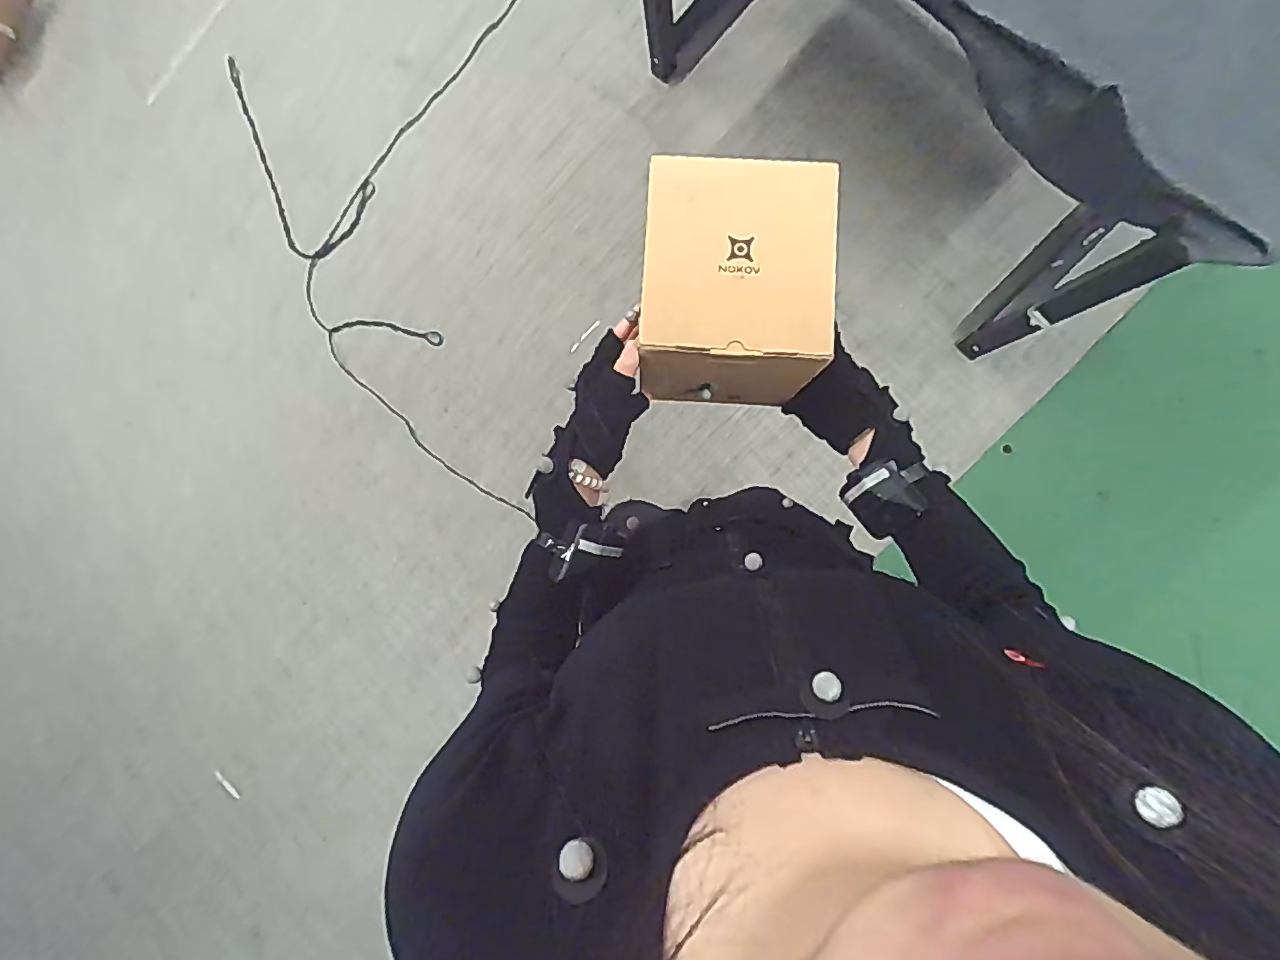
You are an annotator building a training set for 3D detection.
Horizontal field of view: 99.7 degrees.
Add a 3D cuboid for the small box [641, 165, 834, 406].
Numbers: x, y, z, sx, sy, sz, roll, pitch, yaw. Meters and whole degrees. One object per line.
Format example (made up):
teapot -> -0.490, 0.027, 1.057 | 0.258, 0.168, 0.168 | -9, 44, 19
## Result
small box -> 0.088, -0.185, 0.556 | 0.168, 0.176, 0.179 | 3, 85, 1
